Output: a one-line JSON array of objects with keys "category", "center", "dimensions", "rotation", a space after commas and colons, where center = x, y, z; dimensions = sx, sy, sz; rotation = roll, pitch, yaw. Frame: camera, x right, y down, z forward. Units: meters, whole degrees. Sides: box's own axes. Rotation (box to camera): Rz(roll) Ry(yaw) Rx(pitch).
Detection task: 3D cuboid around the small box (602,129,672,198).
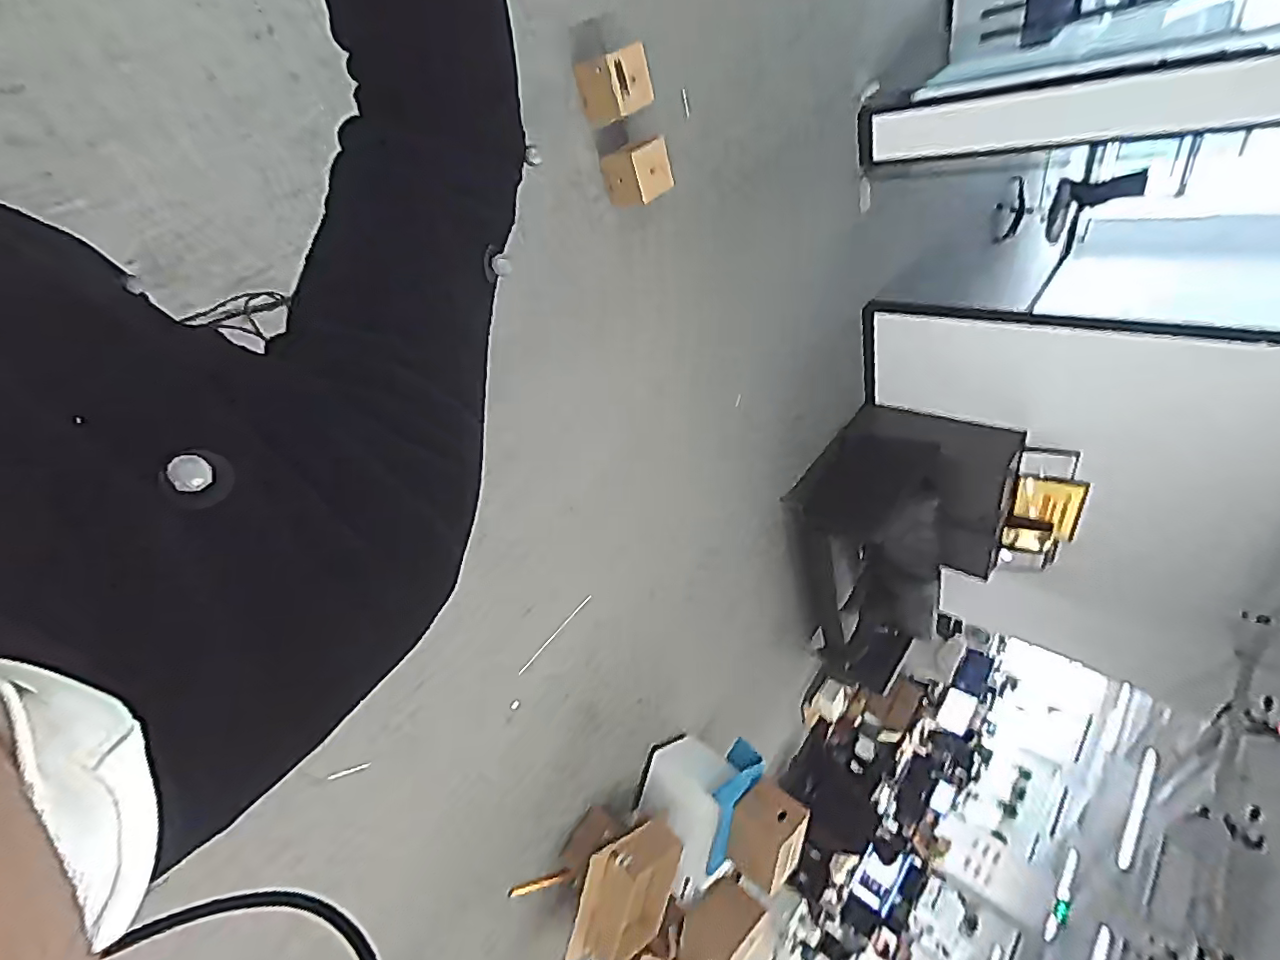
[{"category": "small box", "center": [-0.016, -1.131, 1.939], "dimensions": [0.179, 0.176, 0.168], "rotation": [-45, 136, -26]}]
